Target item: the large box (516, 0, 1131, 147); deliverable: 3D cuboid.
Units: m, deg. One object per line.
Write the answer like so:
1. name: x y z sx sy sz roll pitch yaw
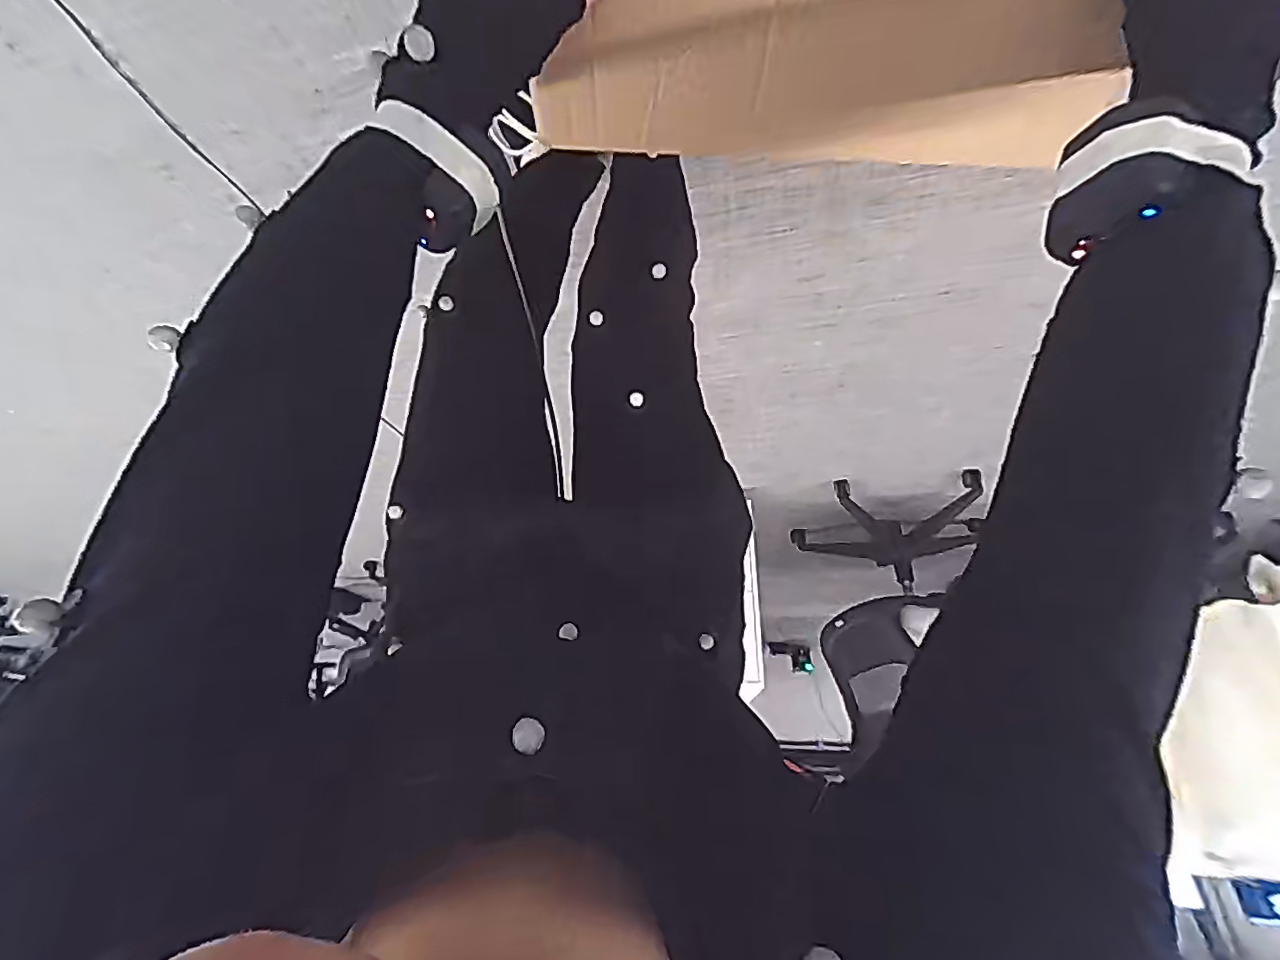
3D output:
1. large box: 0.126 -0.474 0.365 0.408 0.320 0.320 4 151 2
